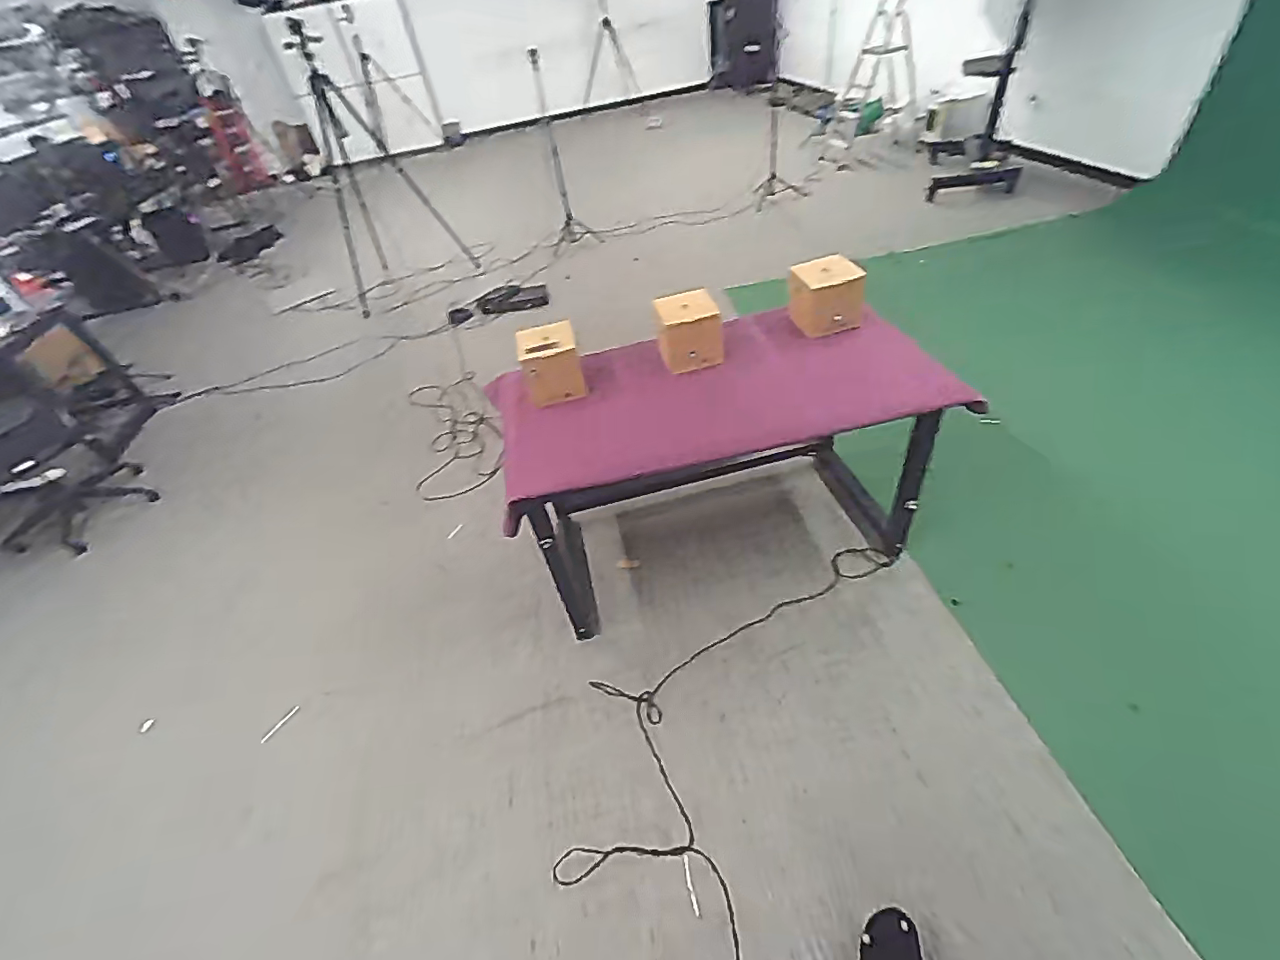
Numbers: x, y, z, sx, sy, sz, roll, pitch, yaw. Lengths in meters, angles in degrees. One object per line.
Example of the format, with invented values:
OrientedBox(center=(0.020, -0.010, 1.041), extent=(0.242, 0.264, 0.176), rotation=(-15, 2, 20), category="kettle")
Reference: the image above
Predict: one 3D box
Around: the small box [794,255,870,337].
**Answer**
OrientedBox(center=(0.583, -0.567, 1.670), extent=(0.168, 0.176, 0.179), rotation=(-15, 44, -1), category="small box")

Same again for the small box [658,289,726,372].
OrientedBox(center=(0.157, -0.454, 1.644), extent=(0.168, 0.176, 0.179), rotation=(-14, 44, -4), category="small box")
